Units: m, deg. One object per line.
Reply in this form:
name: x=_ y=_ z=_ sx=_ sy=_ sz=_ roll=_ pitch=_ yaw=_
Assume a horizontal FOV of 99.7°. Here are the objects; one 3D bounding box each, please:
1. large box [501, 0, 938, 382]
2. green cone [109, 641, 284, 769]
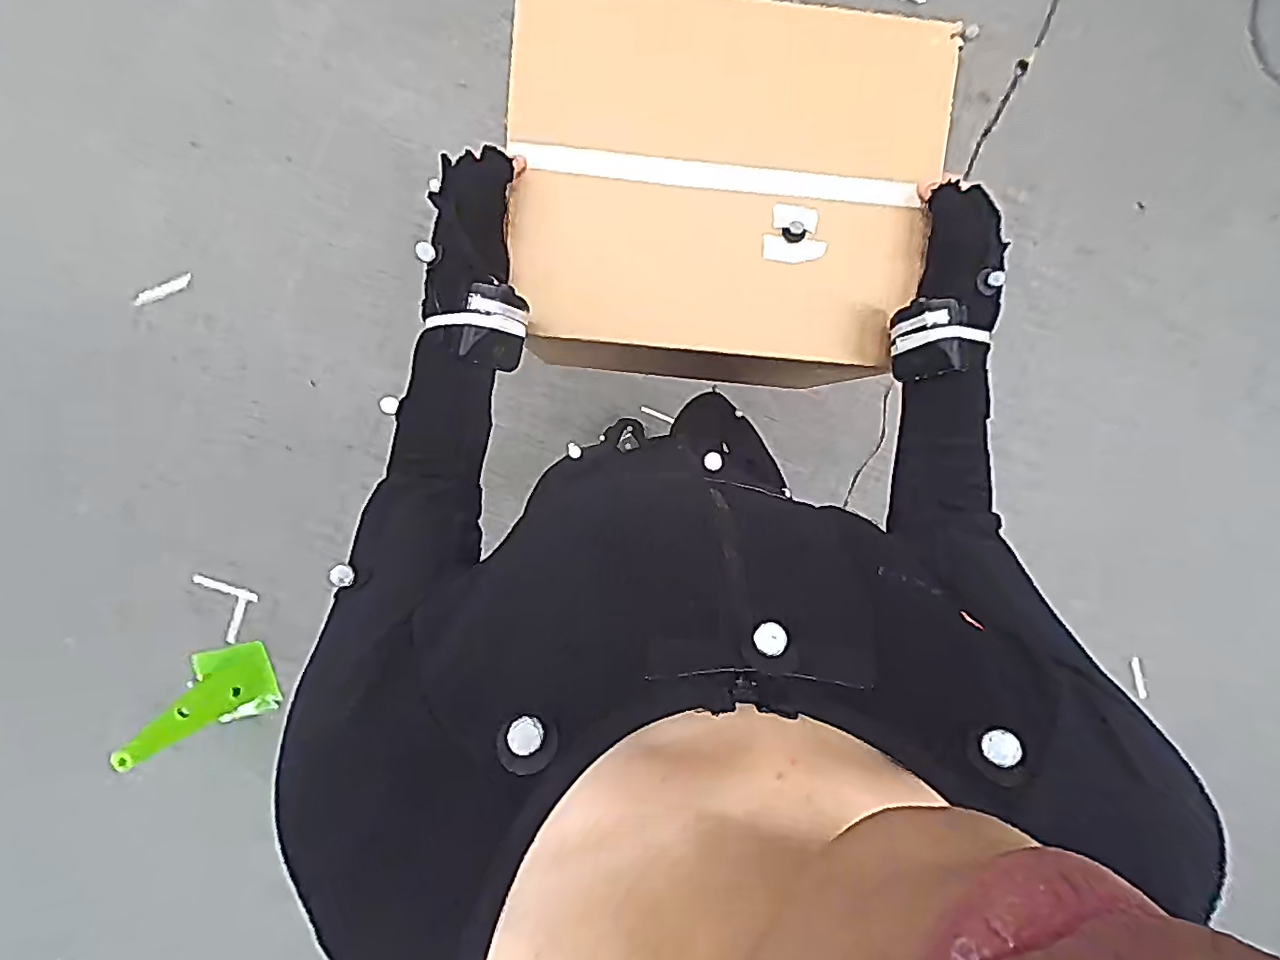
large box: x=0.064 y=-0.296 z=0.653 sx=0.408 sy=0.320 sz=0.320 roll=4 pitch=96 yaw=-3
green cone: x=-1.102 y=0.570 z=1.321 sx=0.202 sy=0.368 sz=0.200 roll=-15 pitch=96 yaw=1
